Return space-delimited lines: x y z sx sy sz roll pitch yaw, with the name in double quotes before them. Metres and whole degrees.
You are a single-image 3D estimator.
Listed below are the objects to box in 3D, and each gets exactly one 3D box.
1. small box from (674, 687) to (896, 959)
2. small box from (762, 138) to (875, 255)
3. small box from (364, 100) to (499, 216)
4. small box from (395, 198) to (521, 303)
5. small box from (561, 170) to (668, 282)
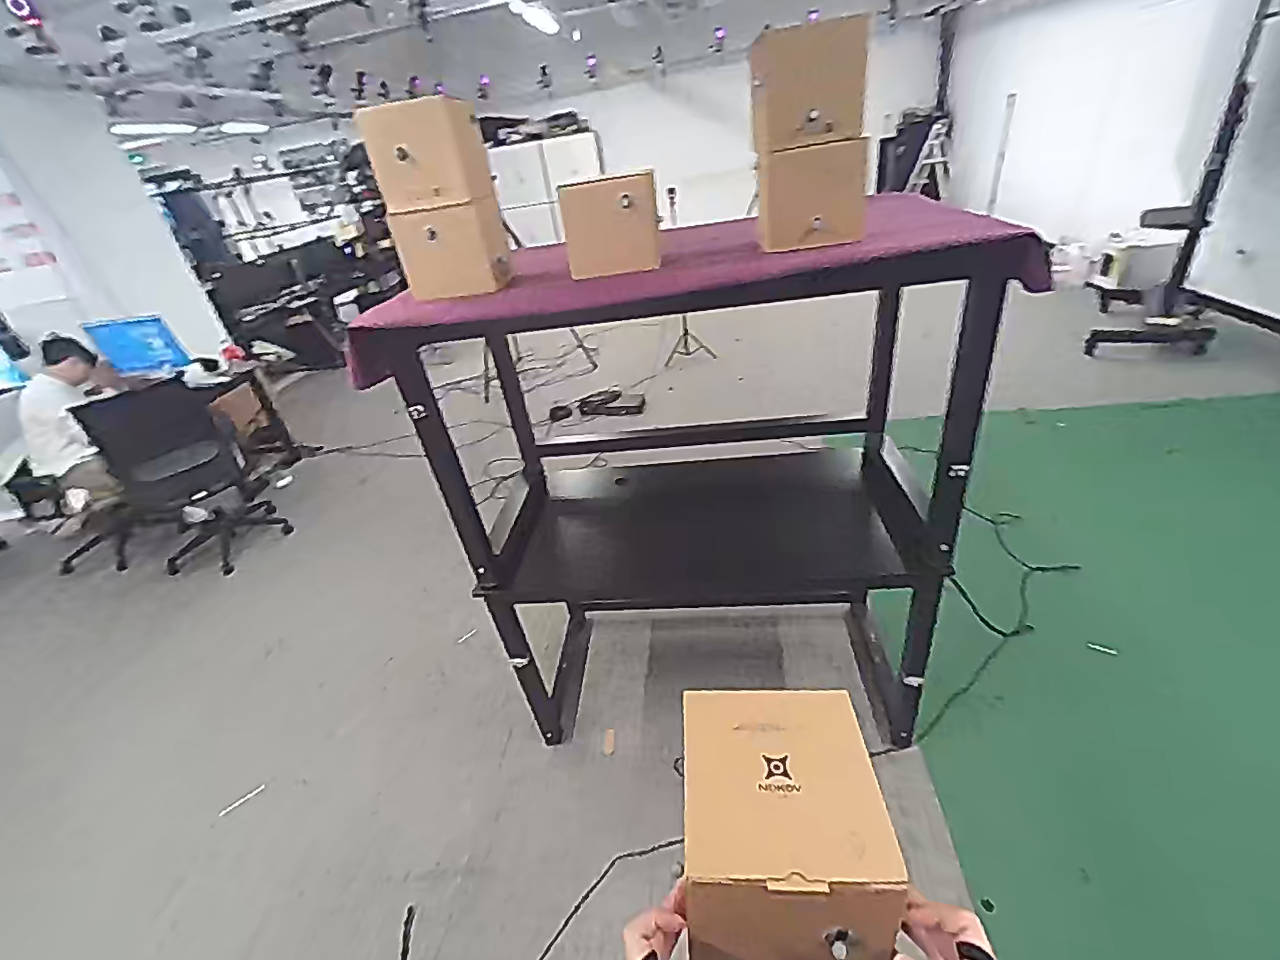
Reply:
"small box" 0.121 0.322 0.509 0.168 0.176 0.179 -2 28 6
"small box" 0.327 -0.536 1.023 0.179 0.176 0.168 -4 30 9
"small box" -0.390 -0.617 1.049 0.168 0.176 0.179 -6 31 7
"small box" -0.368 -0.477 1.129 0.179 0.176 0.168 -5 32 6
"small box" -0.040 -0.509 1.085 0.179 0.176 0.168 -4 31 10
